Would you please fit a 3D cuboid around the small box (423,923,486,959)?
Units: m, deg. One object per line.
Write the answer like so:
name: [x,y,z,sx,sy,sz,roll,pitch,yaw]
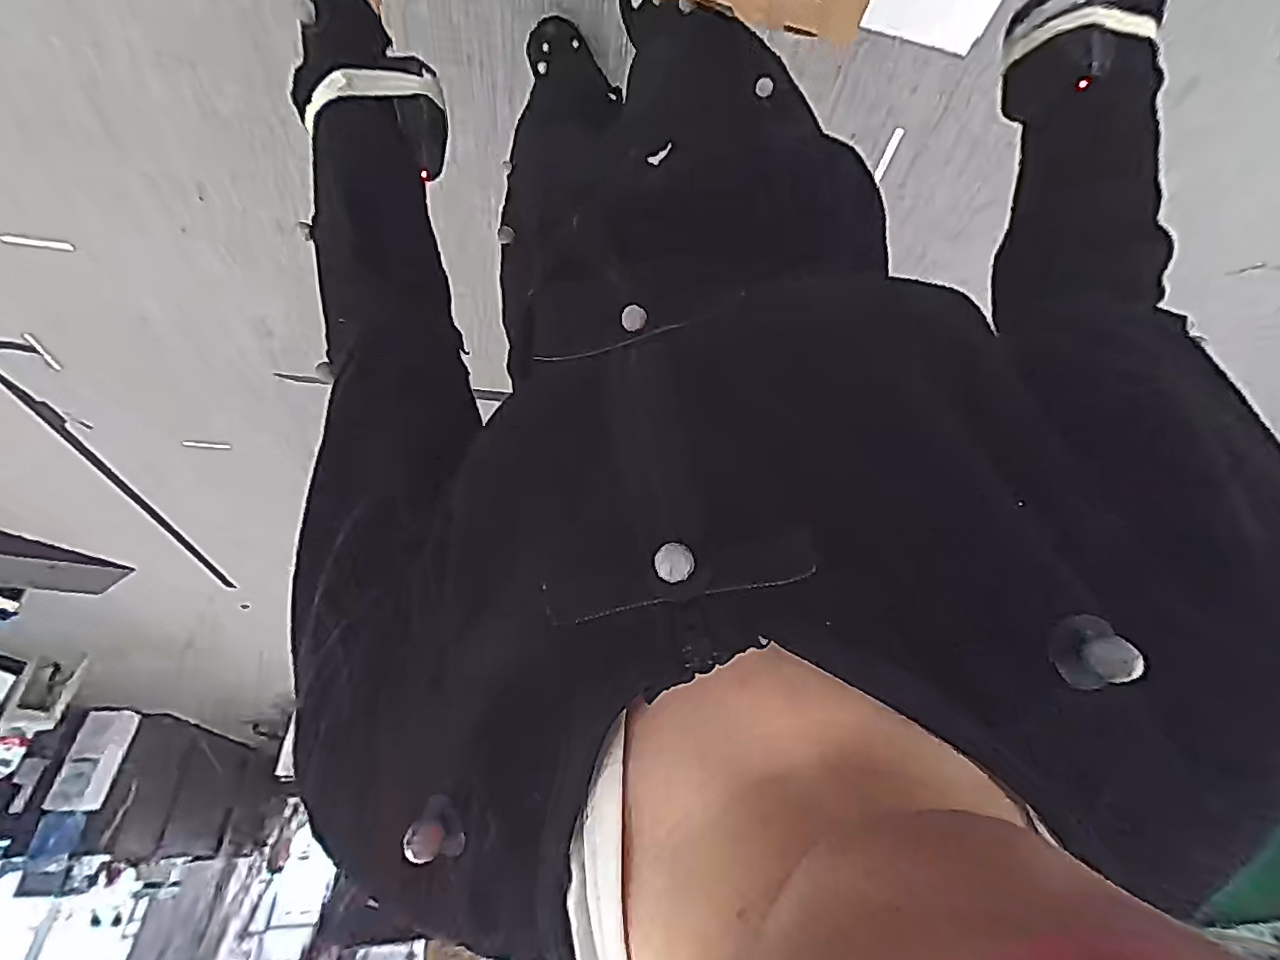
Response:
small box: [-0.549,1.426,1.593,0.168,0.176,0.179,4,146,-11]
